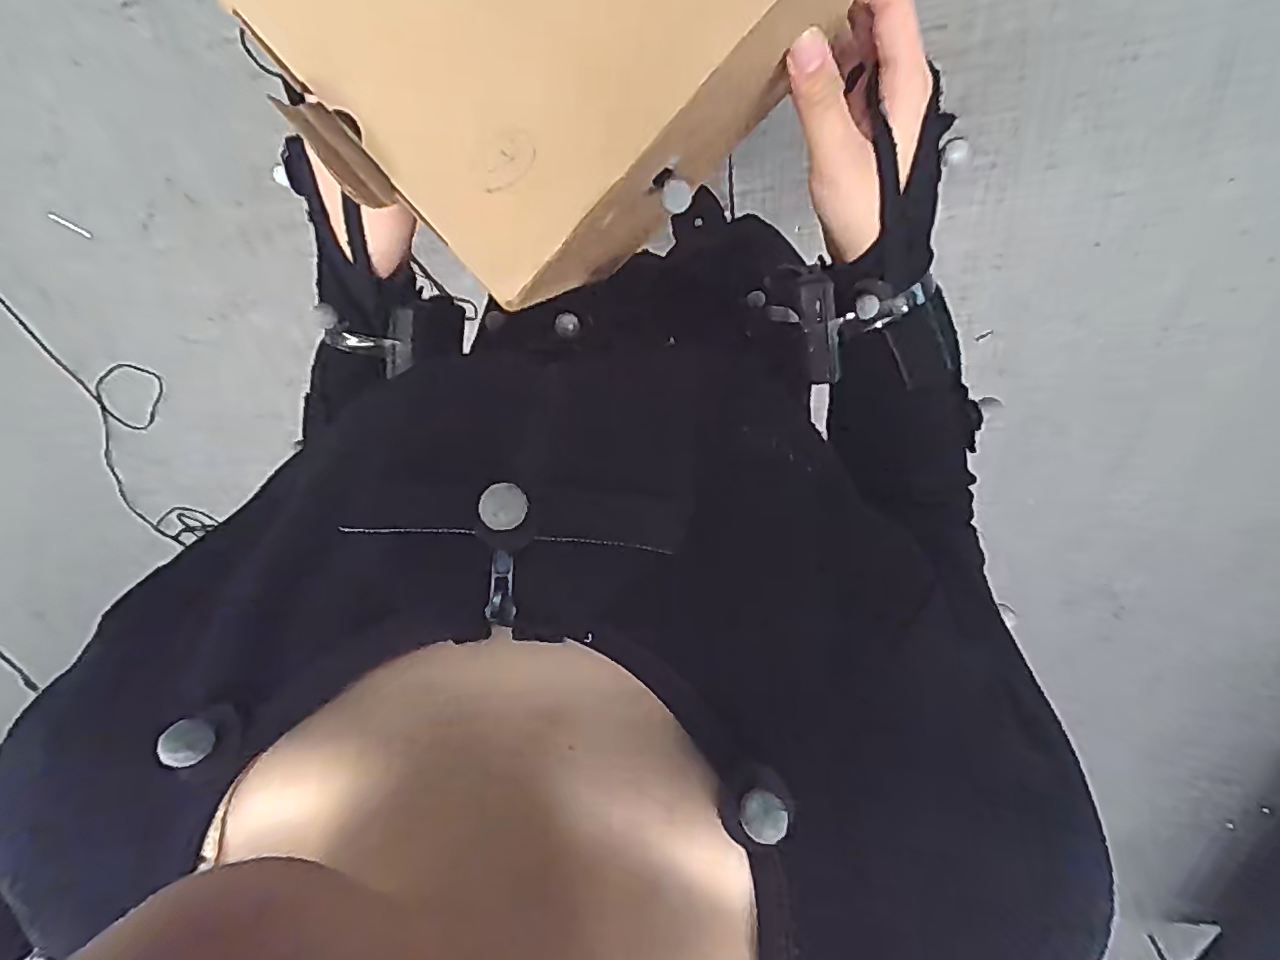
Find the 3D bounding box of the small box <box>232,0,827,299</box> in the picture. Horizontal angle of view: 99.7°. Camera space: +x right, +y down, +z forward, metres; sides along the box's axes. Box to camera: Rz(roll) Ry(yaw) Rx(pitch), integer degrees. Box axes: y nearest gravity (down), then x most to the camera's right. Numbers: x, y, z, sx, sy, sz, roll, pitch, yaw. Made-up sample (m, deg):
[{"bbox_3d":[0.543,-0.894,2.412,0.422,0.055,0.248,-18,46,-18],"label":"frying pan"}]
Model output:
[{"bbox_3d":[-0.028,-0.212,0.246,0.179,0.176,0.168,-39,102,25],"label":"small box"}]
